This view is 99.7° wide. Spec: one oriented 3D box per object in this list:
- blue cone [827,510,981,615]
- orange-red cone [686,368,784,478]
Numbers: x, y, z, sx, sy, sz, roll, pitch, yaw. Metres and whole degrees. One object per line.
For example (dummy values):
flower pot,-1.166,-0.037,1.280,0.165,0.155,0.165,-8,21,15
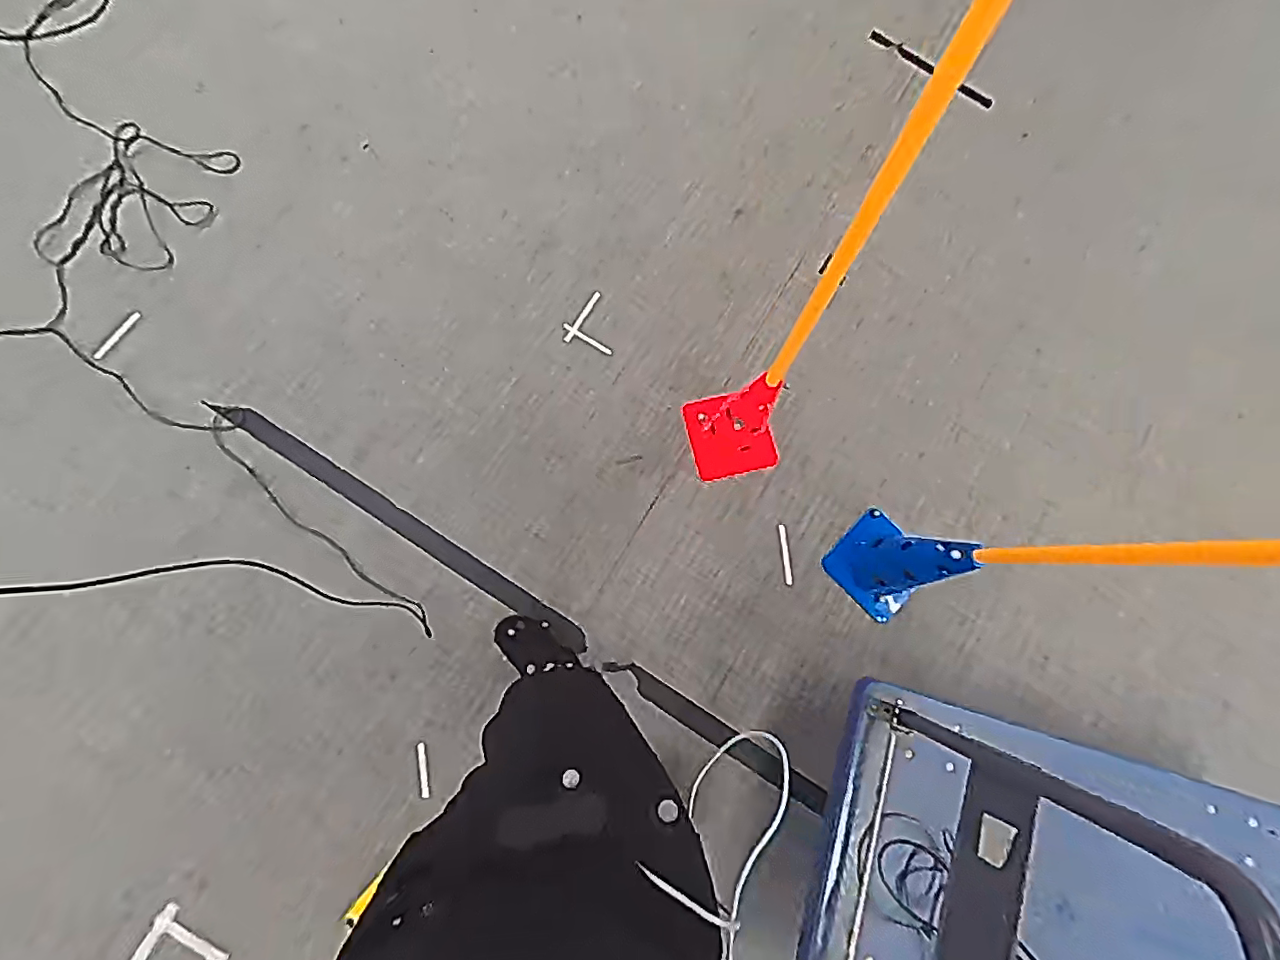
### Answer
blue cone,0.553,0.155,1.083,0.193,0.380,0.192,-42,83,-10
orange-red cone,0.228,-0.145,1.113,0.198,0.360,0.199,-12,81,-5
